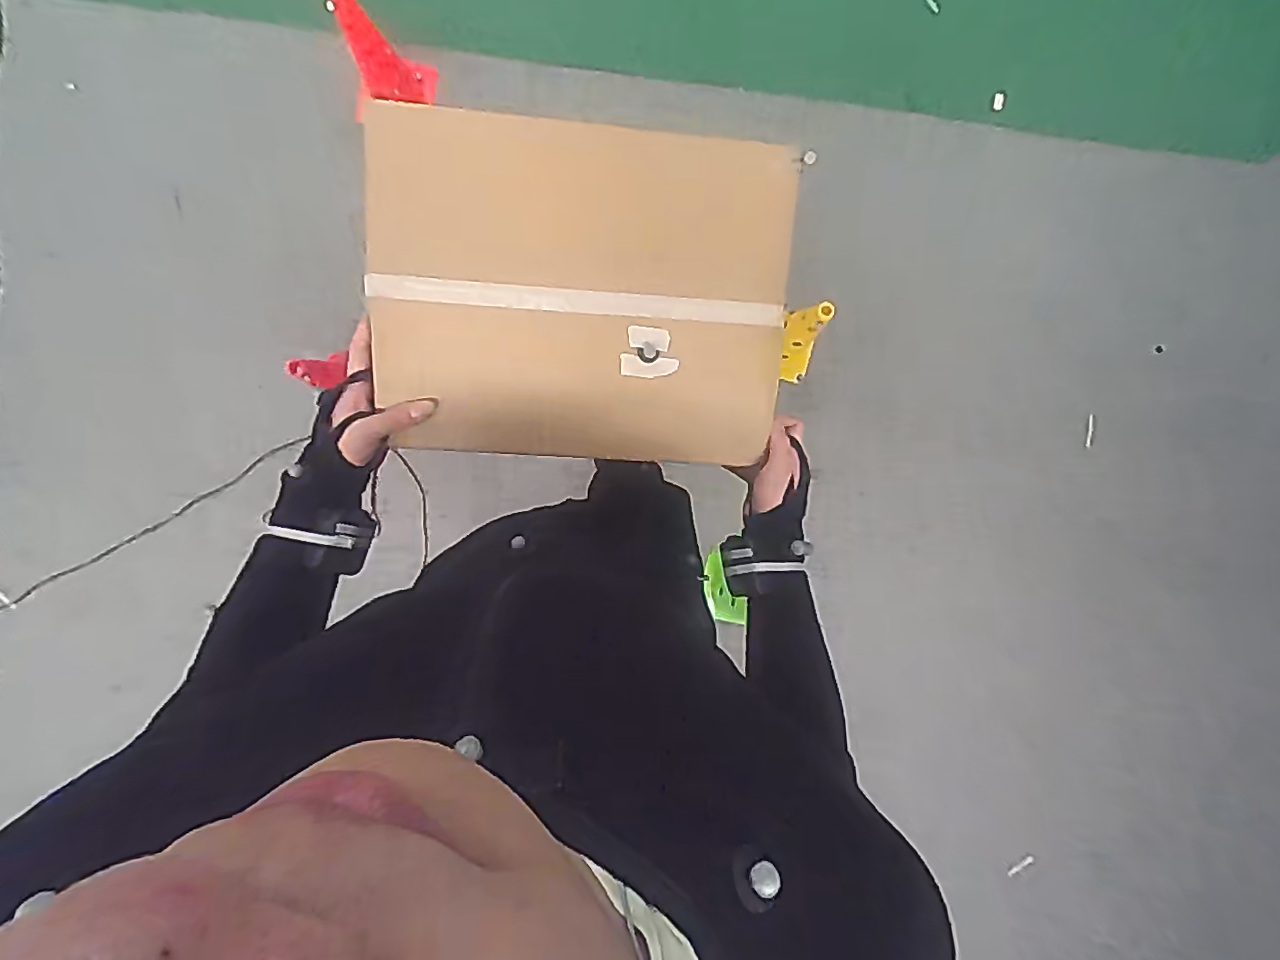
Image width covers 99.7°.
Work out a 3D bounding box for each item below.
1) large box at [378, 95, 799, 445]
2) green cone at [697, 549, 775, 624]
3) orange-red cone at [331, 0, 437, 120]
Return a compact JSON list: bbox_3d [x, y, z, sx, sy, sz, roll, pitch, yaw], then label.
[{"bbox_3d":[-0.064,-0.224,0.683,0.408,0.320,0.320,3,103,-6],"label":"large box"},{"bbox_3d":[0.295,0.327,1.471,0.200,0.368,0.202,11,91,-4],"label":"green cone"},{"bbox_3d":[-0.677,-1.090,1.343,0.199,0.360,0.198,13,91,-2],"label":"orange-red cone"}]
